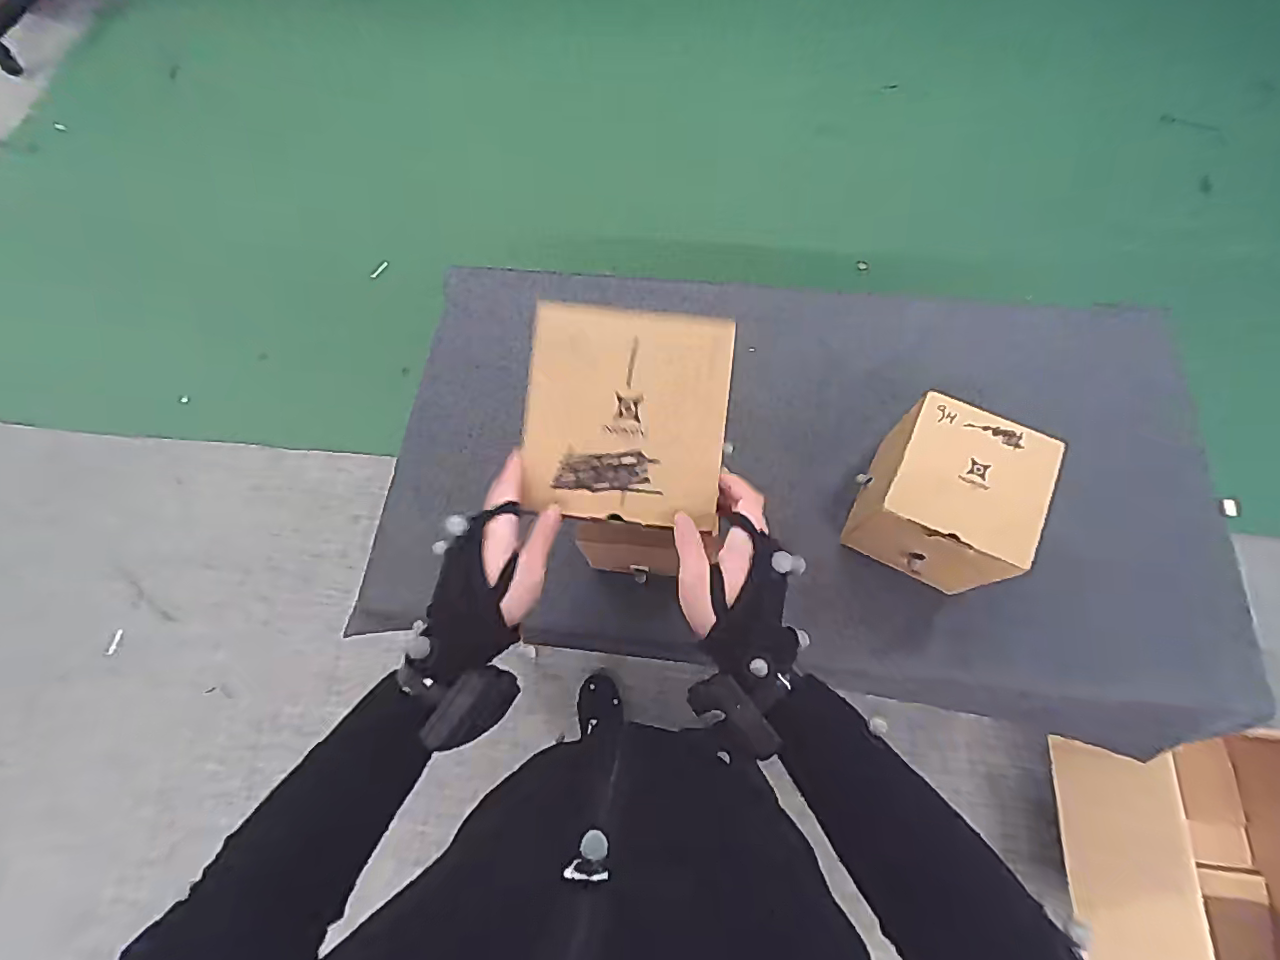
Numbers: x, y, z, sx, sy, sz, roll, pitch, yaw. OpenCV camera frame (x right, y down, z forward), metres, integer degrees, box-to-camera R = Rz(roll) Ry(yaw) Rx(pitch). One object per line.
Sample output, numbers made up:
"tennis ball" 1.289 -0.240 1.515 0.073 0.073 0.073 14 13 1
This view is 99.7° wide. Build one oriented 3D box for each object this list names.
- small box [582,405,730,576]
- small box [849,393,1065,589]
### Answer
"small box" 0.024 0.020 0.711 0.168 0.176 0.179 3 71 4
"small box" 0.395 0.024 0.707 0.168 0.176 0.179 26 74 12
